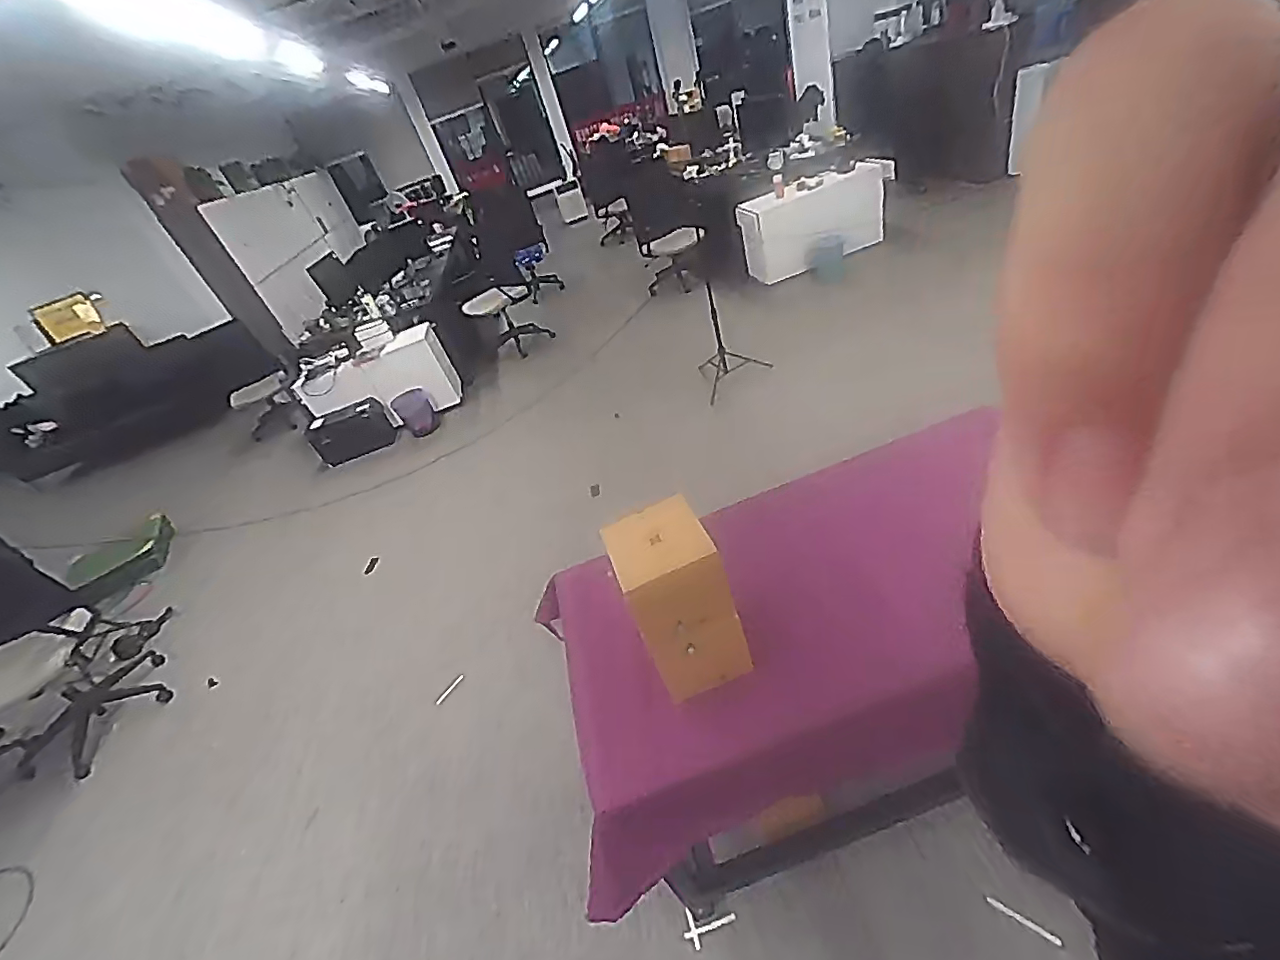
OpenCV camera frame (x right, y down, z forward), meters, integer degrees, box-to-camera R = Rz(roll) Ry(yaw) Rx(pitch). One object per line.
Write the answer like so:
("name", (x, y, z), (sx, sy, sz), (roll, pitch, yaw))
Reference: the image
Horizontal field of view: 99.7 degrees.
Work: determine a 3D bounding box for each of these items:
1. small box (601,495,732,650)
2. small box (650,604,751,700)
("small box", (0.046, 0.163, 0.960), (0.168, 0.176, 0.179), (-23, 36, -4))
("small box", (0.098, 0.288, 1.053), (0.168, 0.176, 0.179), (-22, 35, -3))
